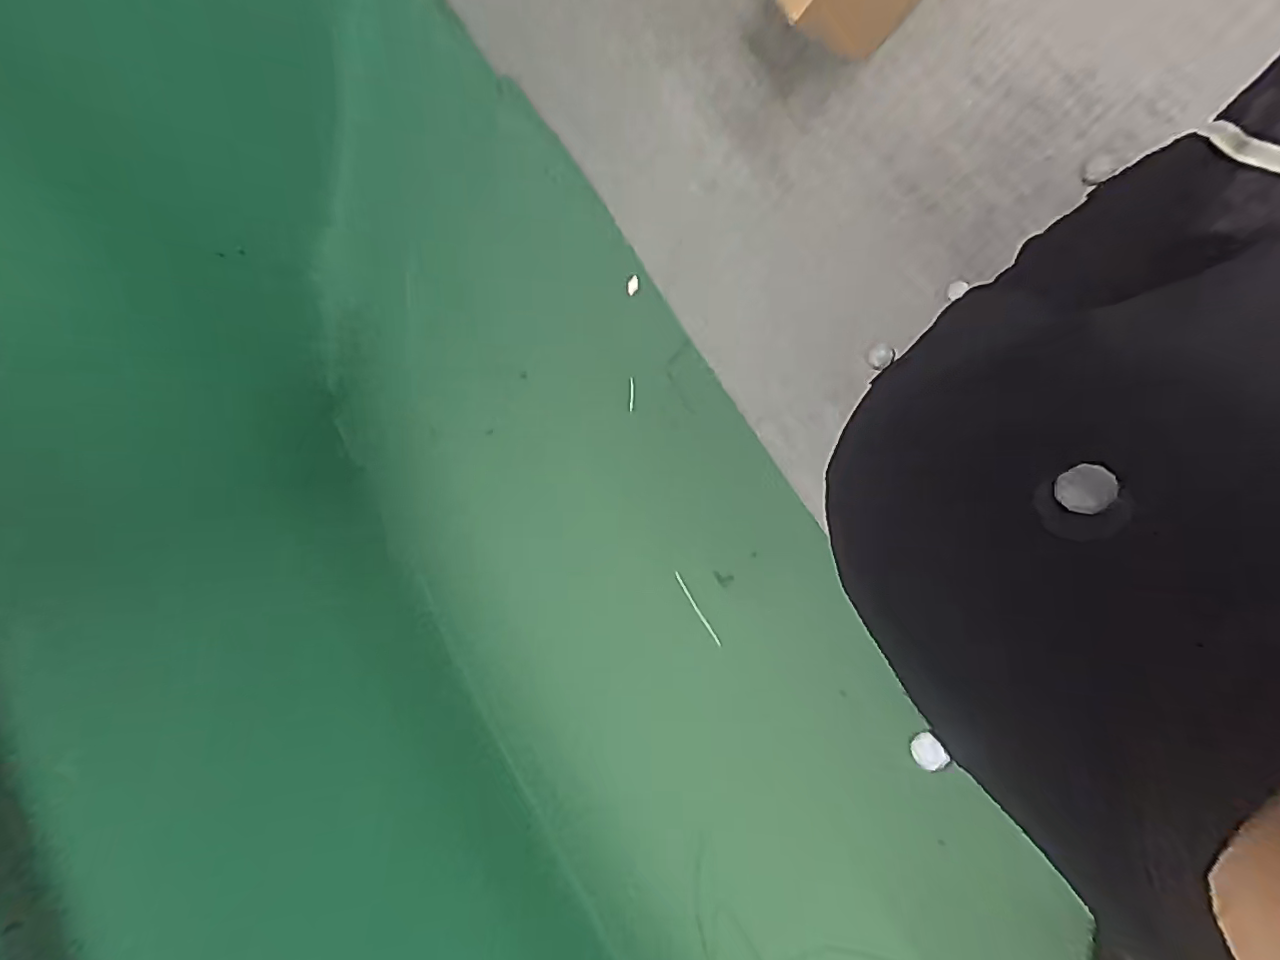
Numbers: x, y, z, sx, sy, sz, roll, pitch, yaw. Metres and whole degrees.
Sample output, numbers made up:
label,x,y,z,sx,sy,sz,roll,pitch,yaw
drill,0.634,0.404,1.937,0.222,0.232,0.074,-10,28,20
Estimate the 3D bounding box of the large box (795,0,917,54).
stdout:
label,x,y,z,sx,sy,sz,roll,pitch,yaw
large box,0.422,-1.072,0.926,0.408,0.320,0.320,-36,82,46
